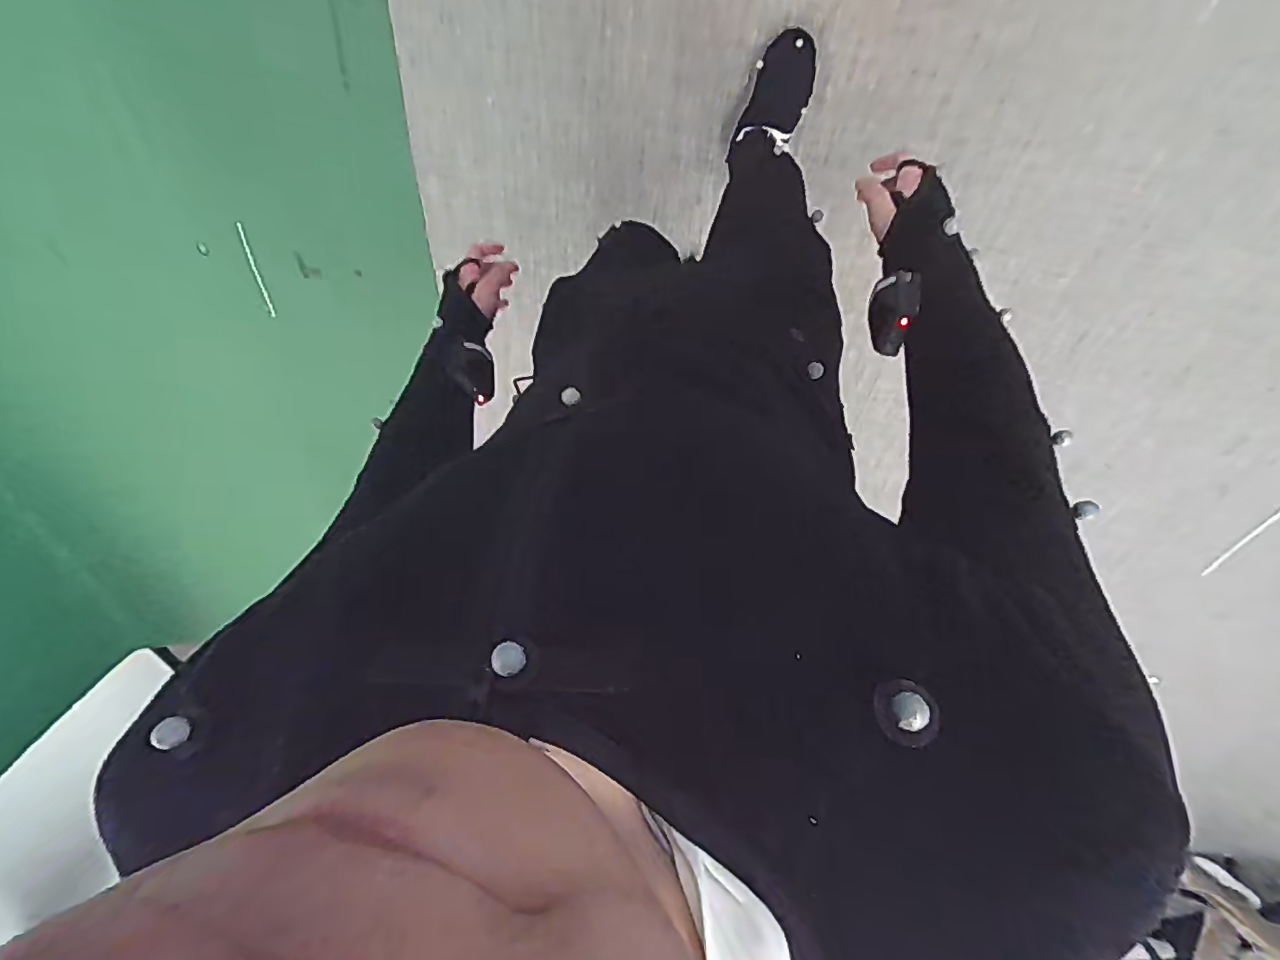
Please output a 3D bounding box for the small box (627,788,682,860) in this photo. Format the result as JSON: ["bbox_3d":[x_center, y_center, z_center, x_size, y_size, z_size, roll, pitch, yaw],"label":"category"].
[{"bbox_3d":[0.056,1.292,2.037,0.168,0.176,0.179,15,133,5],"label":"small box"}]
